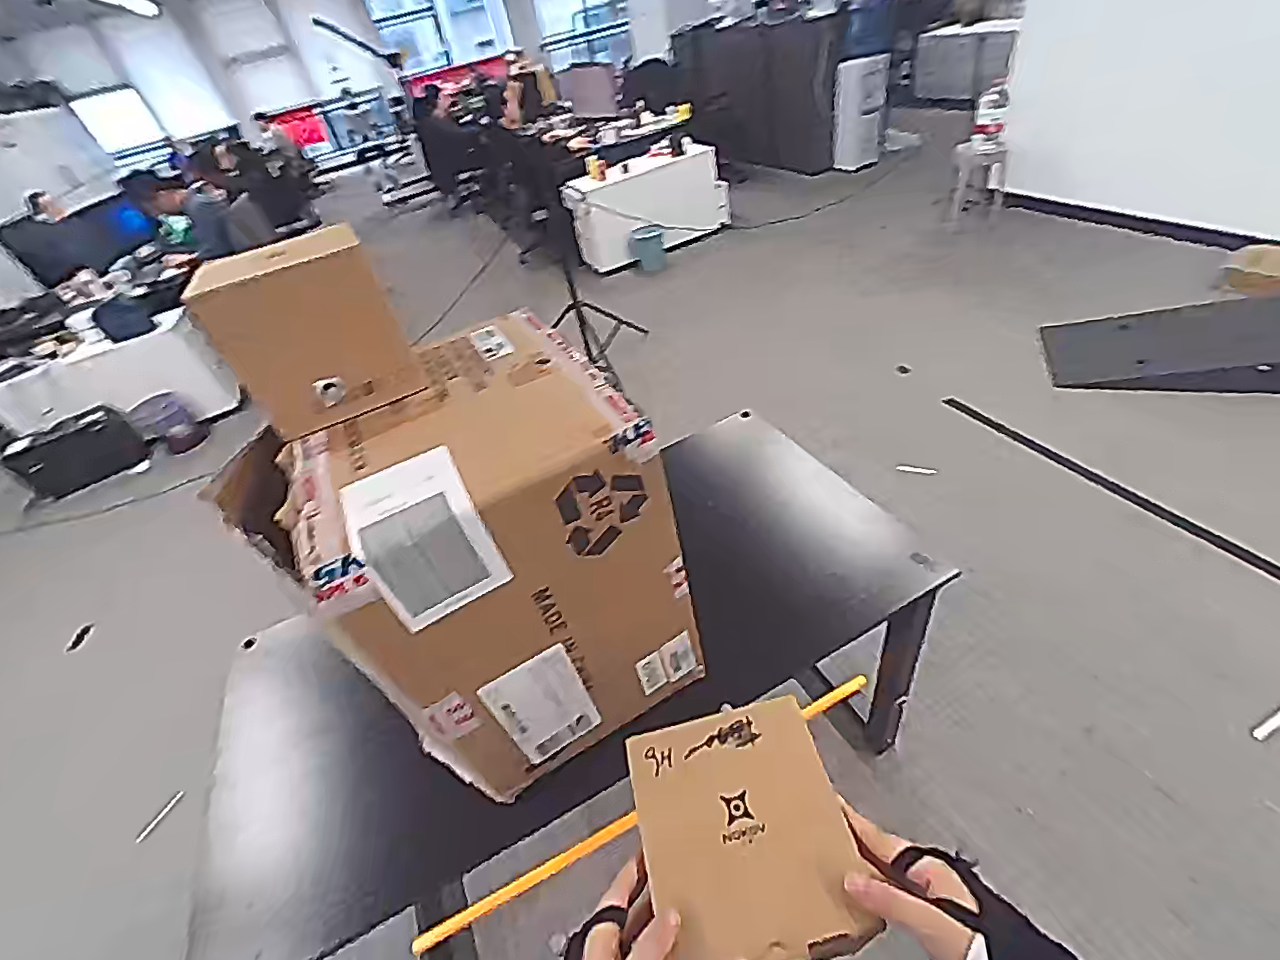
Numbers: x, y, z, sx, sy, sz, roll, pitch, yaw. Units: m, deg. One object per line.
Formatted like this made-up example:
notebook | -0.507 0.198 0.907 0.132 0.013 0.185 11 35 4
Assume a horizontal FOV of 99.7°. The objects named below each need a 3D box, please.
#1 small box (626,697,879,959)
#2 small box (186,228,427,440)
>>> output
small box | 0.094 0.334 0.500 0.168 0.176 0.179 -14 45 -1
small box | -0.375 -0.173 0.631 0.168 0.176 0.179 -28 41 -17
